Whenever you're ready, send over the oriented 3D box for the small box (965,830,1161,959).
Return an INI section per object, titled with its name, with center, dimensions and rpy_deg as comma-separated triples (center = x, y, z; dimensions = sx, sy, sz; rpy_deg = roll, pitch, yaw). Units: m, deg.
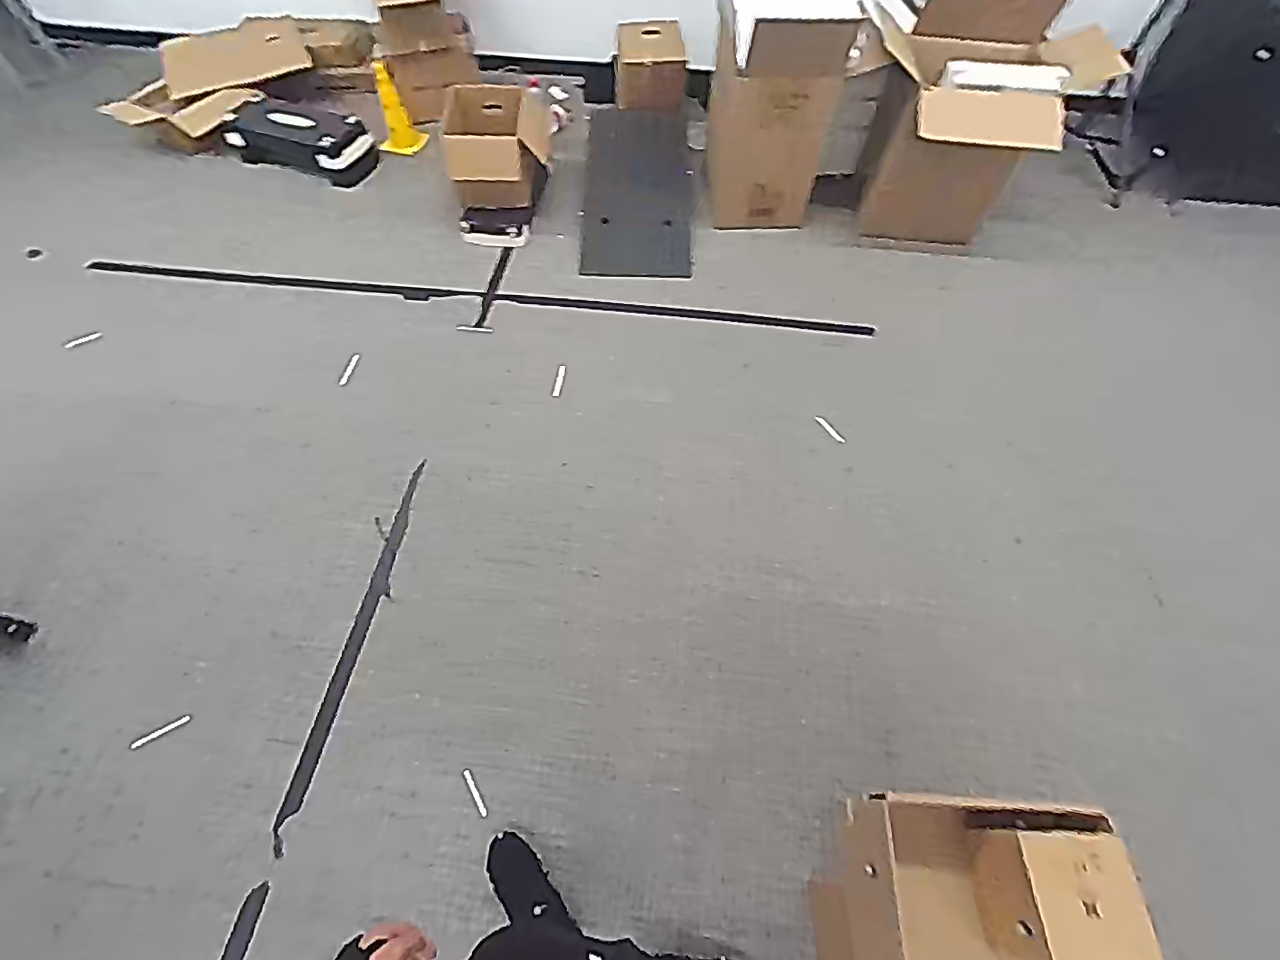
[small box]
center = 0.670, 0.681, 0.877
dimensions = 0.168, 0.176, 0.179
rpy_deg = 2, 59, -1
